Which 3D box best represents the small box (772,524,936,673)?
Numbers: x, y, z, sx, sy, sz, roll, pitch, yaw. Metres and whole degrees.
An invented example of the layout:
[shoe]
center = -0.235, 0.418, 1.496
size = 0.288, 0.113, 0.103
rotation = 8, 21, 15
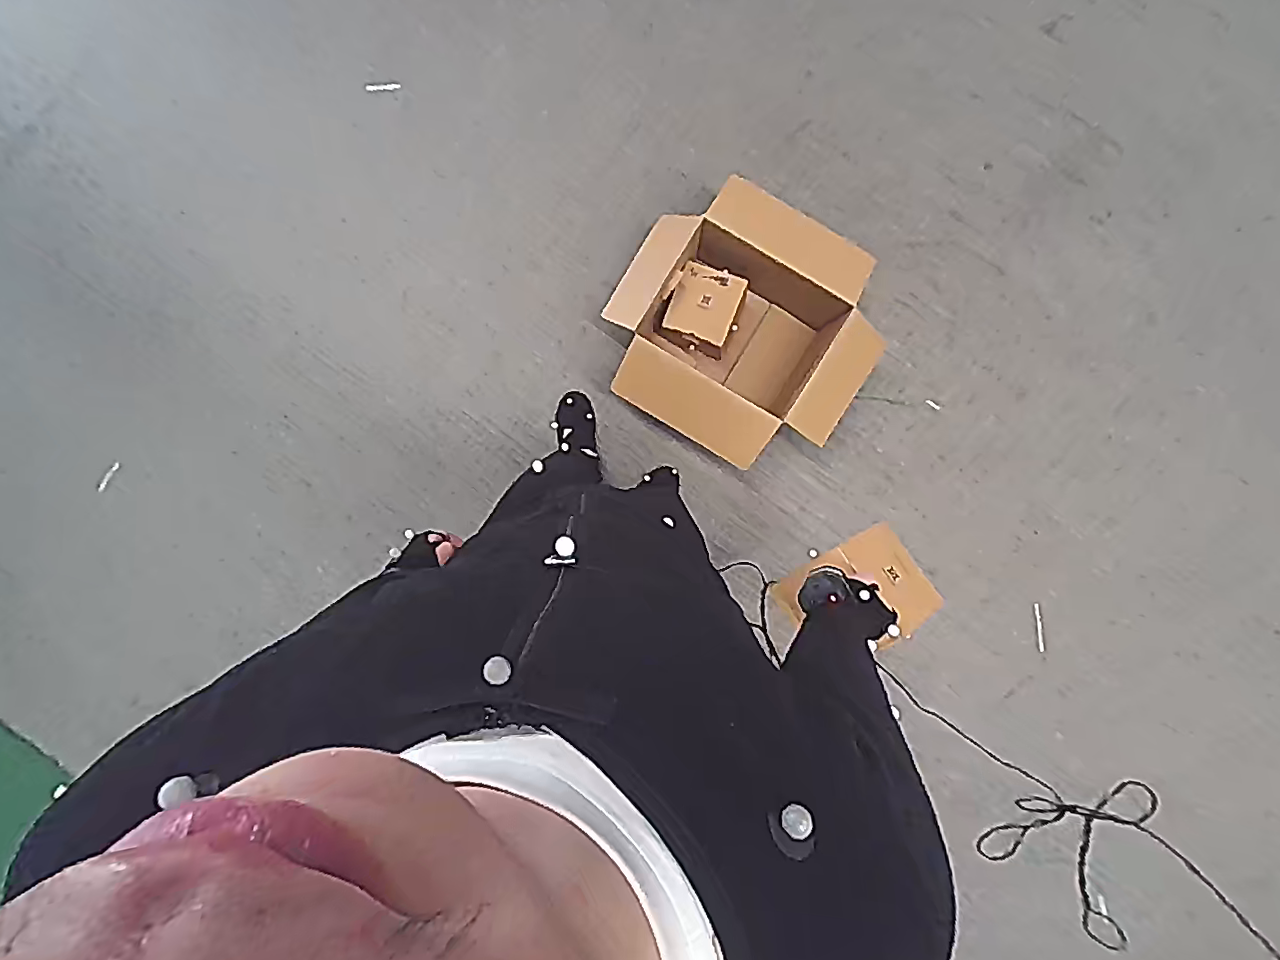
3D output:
[small box]
center = 0.352, 0.201, 0.917
size = 0.176, 0.179, 0.168
rotation = -47, 66, 40
